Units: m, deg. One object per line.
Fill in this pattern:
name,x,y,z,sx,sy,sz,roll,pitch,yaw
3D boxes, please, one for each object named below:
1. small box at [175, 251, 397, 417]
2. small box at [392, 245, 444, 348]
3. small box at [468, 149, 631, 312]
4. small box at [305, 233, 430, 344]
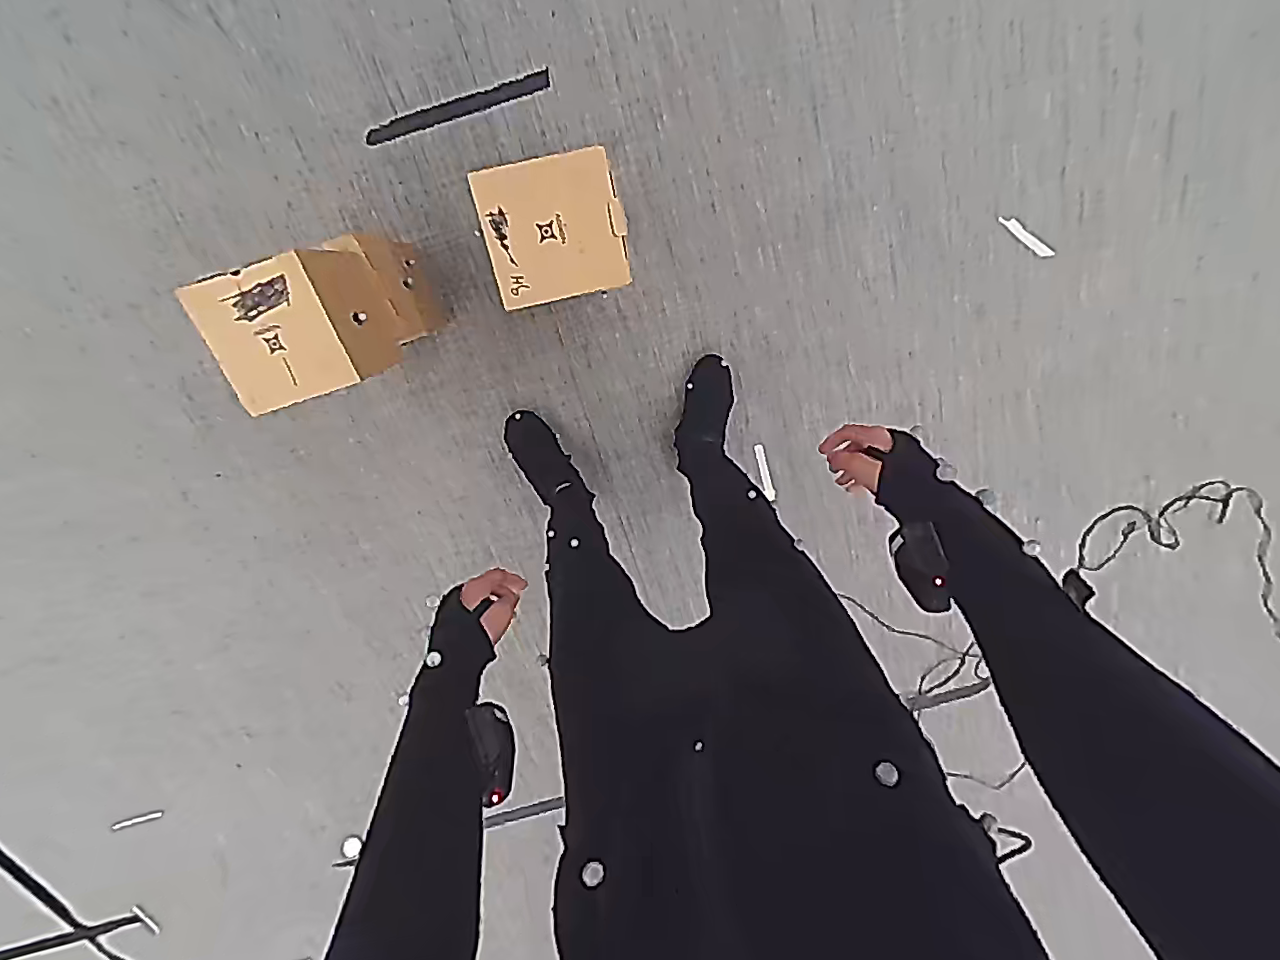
small box,-0.483,-0.212,0.771,0.168,0.176,0.179,-17,113,3
small box,-0.515,-0.352,1.066,0.168,0.176,0.179,-20,113,3
small box,-0.120,-0.341,0.756,0.179,0.176,0.168,-13,112,-2
small box,-0.489,-0.298,0.913,0.179,0.176,0.168,-21,112,3
